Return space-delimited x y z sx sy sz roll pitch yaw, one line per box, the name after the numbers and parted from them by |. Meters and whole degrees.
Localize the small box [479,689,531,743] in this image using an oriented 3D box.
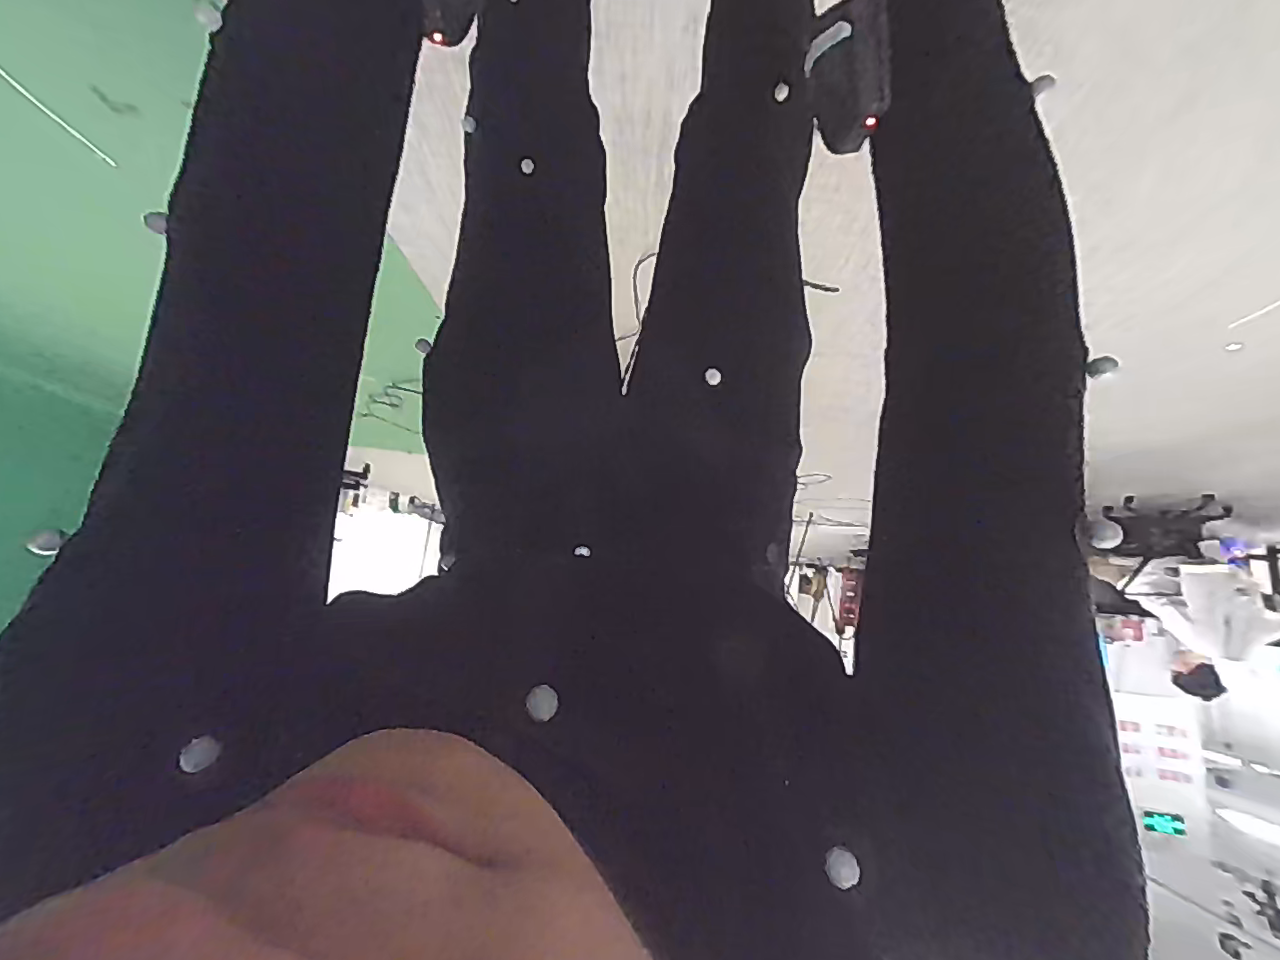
-0.567 0.999 2.302 0.179 0.176 0.168 7 169 0 | small box
